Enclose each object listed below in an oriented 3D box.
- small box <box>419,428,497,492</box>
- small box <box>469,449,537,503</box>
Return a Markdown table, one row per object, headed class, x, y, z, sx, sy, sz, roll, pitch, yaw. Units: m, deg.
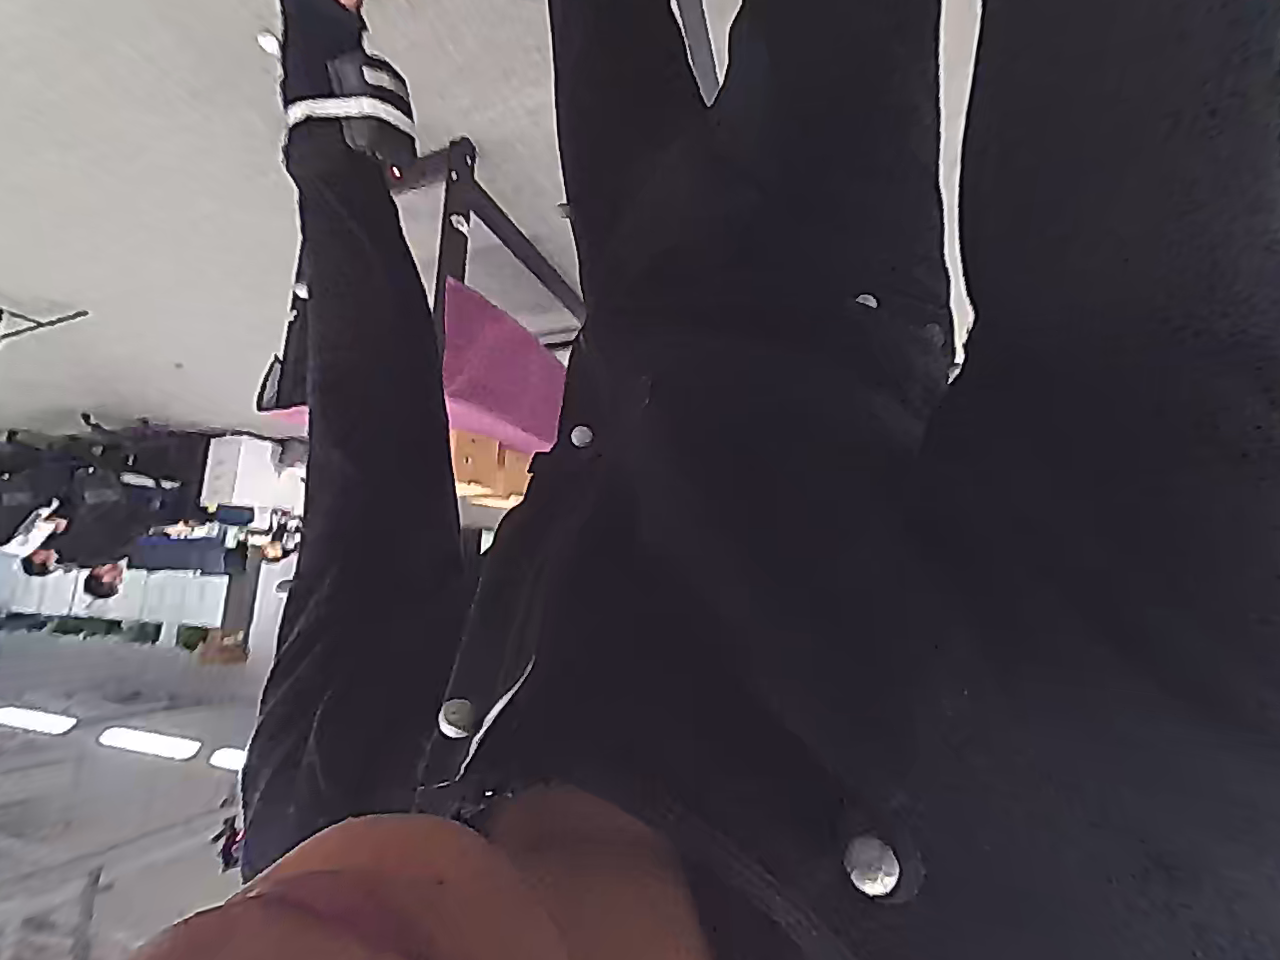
| class | x | y | z | sx | sy | sz | roll | pitch | yaw |
| --- | --- | --- | --- | --- | --- | --- | --- | --- | --- |
| small box | -0.564 | -0.061 | 1.688 | 0.179 | 0.176 | 0.168 | -5 | 168 | 32 |
| small box | -0.487 | -0.012 | 1.934 | 0.179 | 0.176 | 0.168 | -4 | 168 | 30 |
